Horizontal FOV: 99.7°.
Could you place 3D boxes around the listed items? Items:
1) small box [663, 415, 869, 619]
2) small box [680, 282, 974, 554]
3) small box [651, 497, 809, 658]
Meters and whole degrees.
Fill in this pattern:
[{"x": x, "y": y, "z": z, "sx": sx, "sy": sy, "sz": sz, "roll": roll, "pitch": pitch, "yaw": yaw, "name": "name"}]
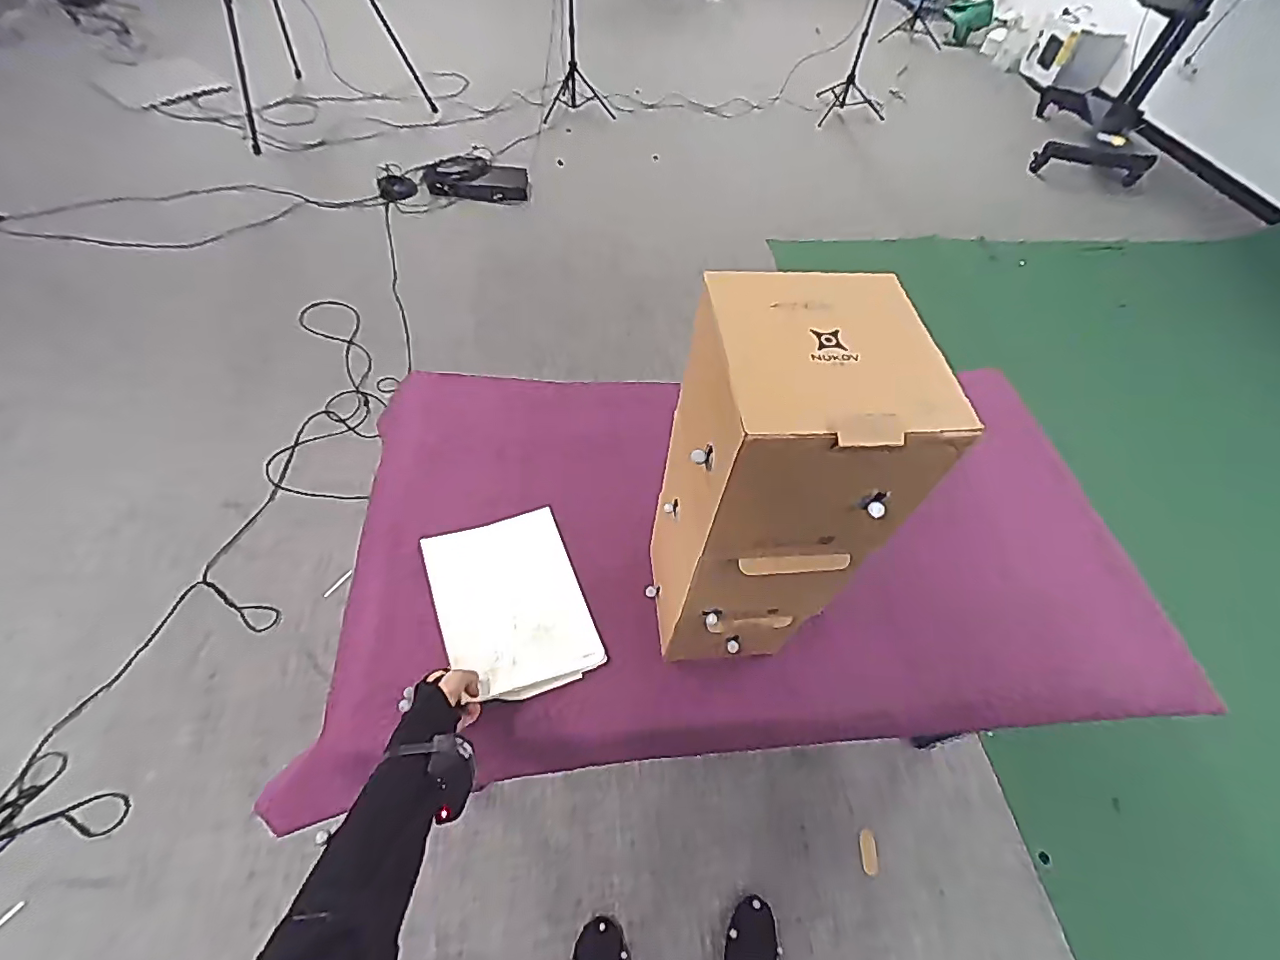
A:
[{"x": 0.121, "y": 0.045, "z": 0.600, "sx": 0.168, "sy": 0.176, "sz": 0.179, "roll": -2, "pitch": 54, "yaw": -6, "name": "small box"}, {"x": 0.132, "y": -0.046, "z": 0.465, "sx": 0.168, "sy": 0.176, "sz": 0.179, "roll": -1, "pitch": 54, "yaw": -6, "name": "small box"}, {"x": 0.109, "y": 0.136, "z": 0.737, "sx": 0.168, "sy": 0.176, "sz": 0.179, "roll": -2, "pitch": 55, "yaw": -6, "name": "small box"}]
